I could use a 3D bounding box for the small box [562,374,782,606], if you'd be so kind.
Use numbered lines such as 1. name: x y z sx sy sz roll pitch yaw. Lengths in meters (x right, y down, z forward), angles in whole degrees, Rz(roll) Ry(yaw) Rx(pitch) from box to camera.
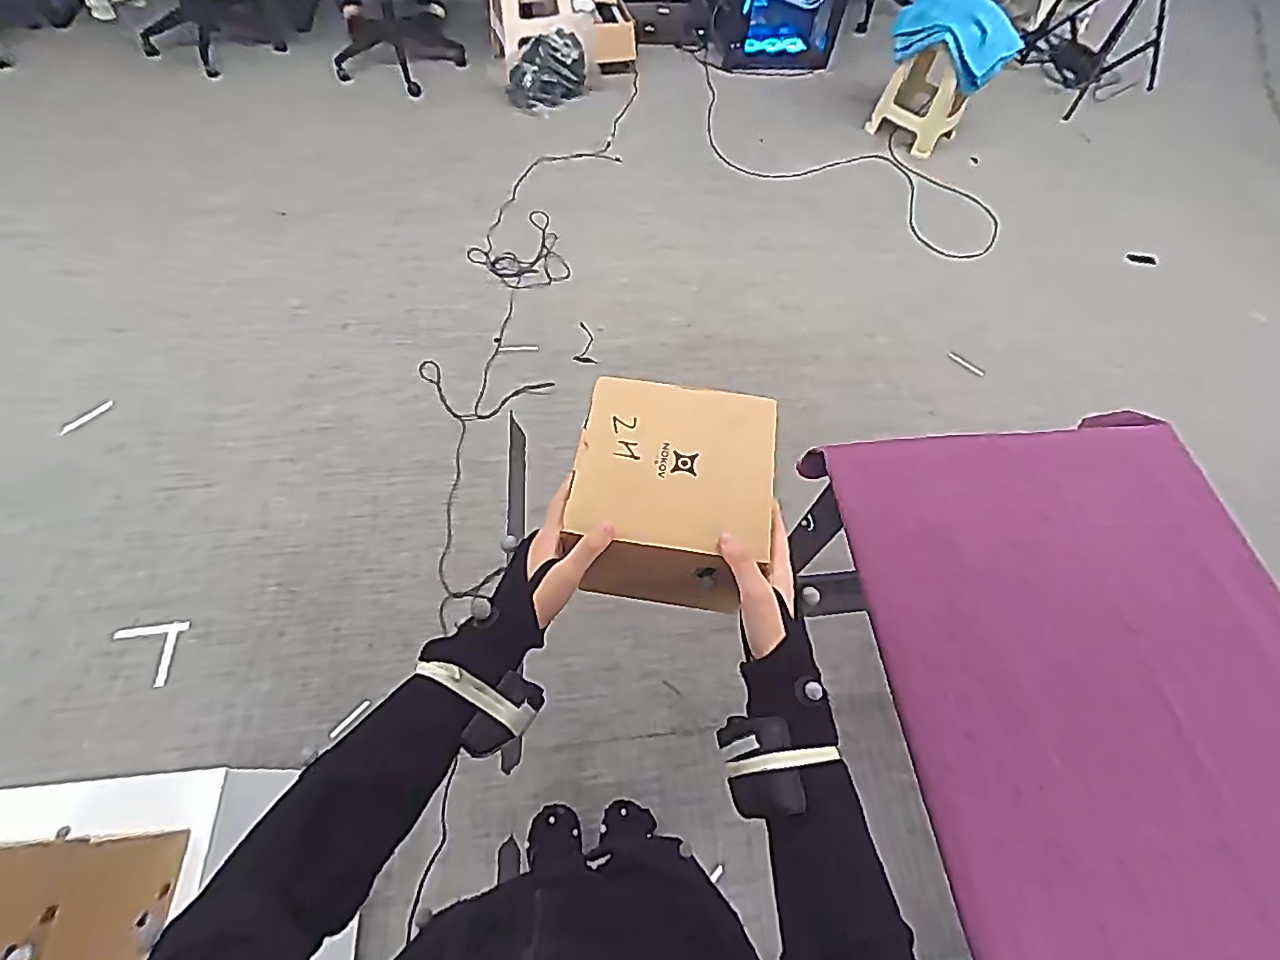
1. small box: 0.033 0.020 0.543 0.179 0.176 0.168 8 62 4

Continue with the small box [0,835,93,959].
1. small box: -0.642 0.404 0.449 0.179 0.176 0.168 -1 62 -5
